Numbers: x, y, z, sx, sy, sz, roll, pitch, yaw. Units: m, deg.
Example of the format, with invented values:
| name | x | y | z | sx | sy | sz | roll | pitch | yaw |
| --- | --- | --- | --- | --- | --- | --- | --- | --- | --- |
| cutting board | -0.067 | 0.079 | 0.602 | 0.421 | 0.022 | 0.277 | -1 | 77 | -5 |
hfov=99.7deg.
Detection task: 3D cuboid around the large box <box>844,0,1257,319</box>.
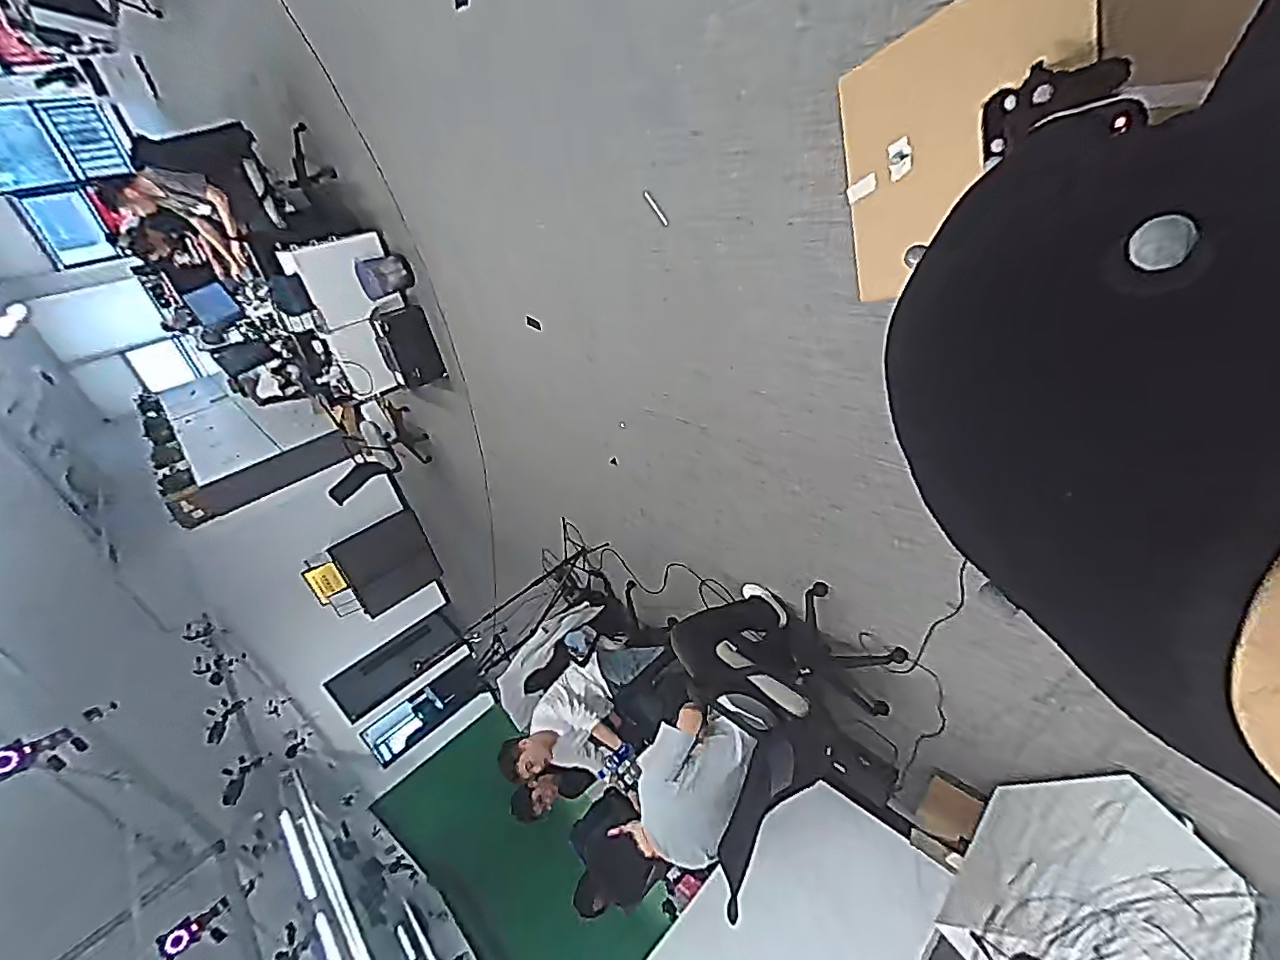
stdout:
| name | x | y | z | sx | sy | sz | roll | pitch | yaw |
| --- | --- | --- | --- | --- | --- | --- | --- | --- | --- |
| large box | 0.560 | -0.438 | 0.762 | 0.320 | 0.408 | 0.320 | 18 | 124 | 61 |
